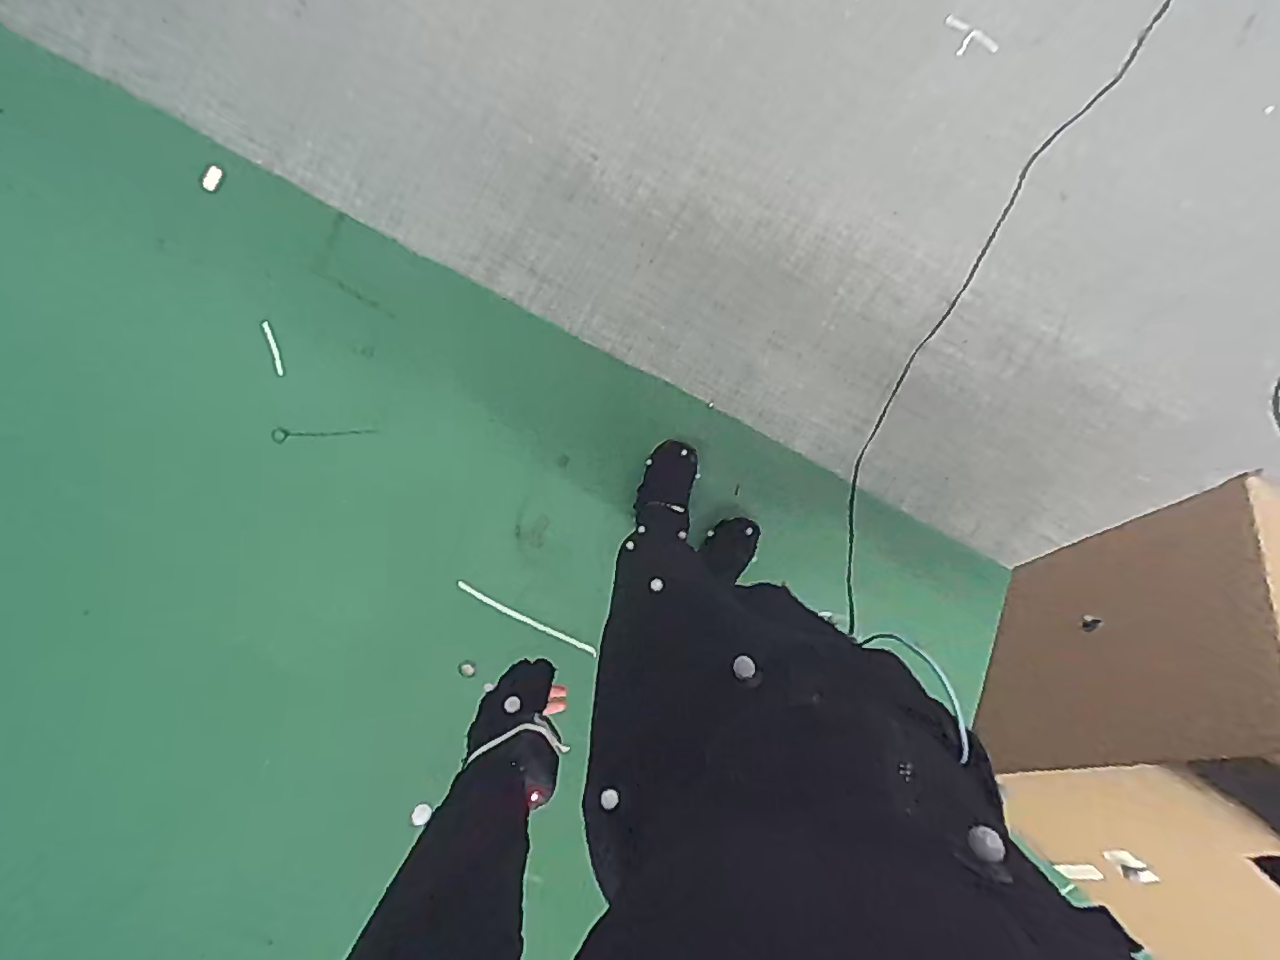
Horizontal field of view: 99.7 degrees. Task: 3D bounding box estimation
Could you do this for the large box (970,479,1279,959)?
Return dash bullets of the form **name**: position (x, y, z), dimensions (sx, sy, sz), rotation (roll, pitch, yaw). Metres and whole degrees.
- **large box**: position (0.667, 0.282, 0.644), dimensions (0.320, 0.320, 0.408), rotation (44, 51, 4)
